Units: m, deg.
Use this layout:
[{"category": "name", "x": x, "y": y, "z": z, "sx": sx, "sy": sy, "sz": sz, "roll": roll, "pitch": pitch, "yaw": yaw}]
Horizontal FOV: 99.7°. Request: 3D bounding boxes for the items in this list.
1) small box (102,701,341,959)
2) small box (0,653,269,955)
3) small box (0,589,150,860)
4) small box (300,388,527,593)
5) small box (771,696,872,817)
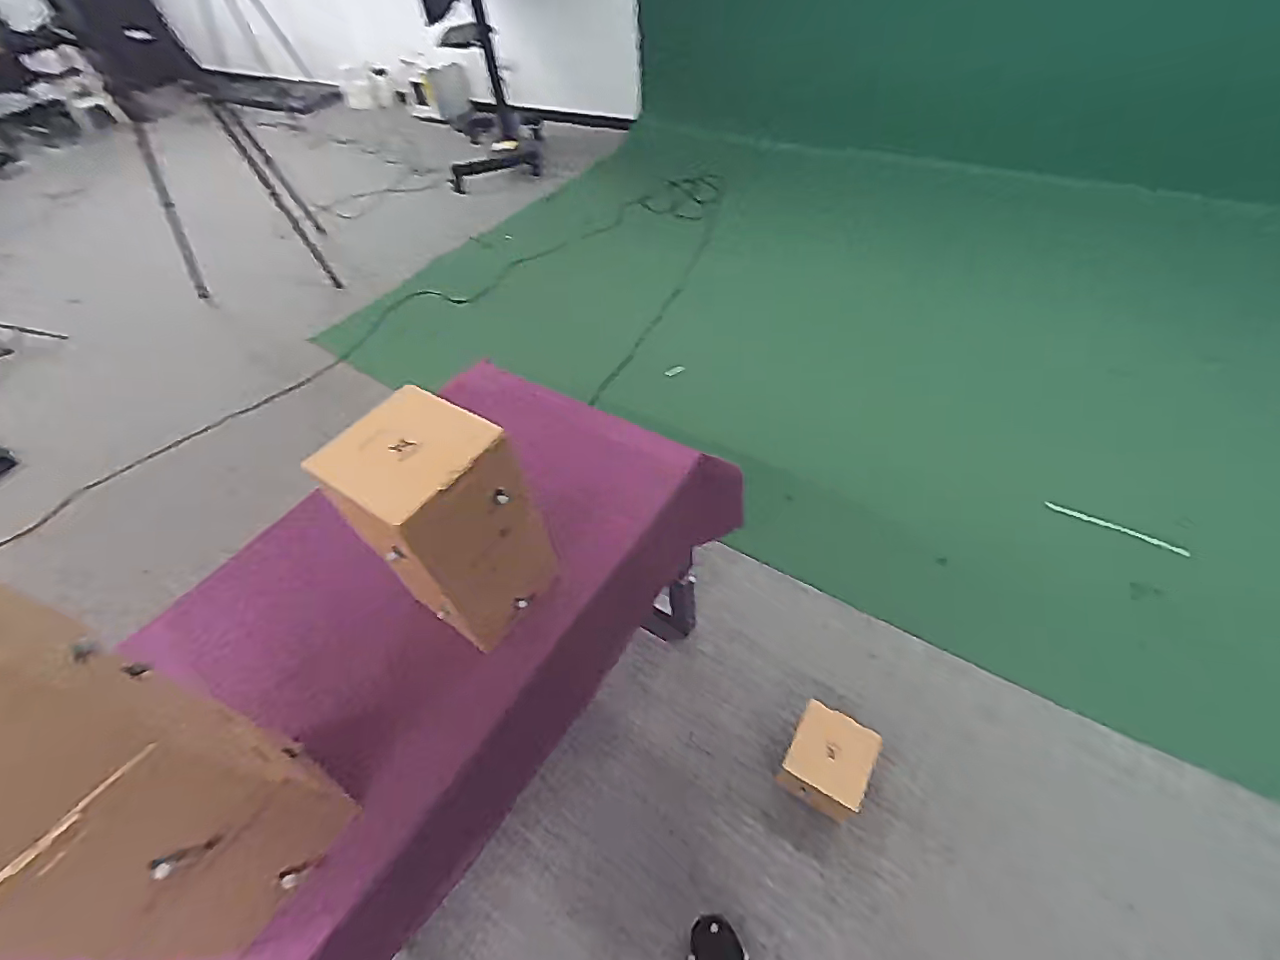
[{"category": "small box", "x": -0.476, "y": 0.393, "z": 0.609, "sx": 0.168, "sy": 0.176, "sz": 0.179, "roll": 23, "pitch": 55, "yaw": 24}, {"category": "small box", "x": -0.493, "y": 0.285, "z": 0.486, "sx": 0.179, "sy": 0.176, "sz": 0.168, "roll": 25, "pitch": 57, "yaw": 24}, {"category": "small box", "x": -0.505, "y": 0.175, "z": 0.363, "sx": 0.168, "sy": 0.176, "sz": 0.179, "roll": 26, "pitch": 56, "yaw": 25}, {"category": "small box", "x": -0.270, "y": 0.018, "z": 0.686, "sx": 0.179, "sy": 0.176, "sz": 0.168, "roll": 25, "pitch": 57, "yaw": 24}, {"category": "small box", "x": 0.416, "y": 0.647, "z": 1.258, "sx": 0.168, "sy": 0.176, "sz": 0.179, "roll": 23, "pitch": 56, "yaw": 23}]
